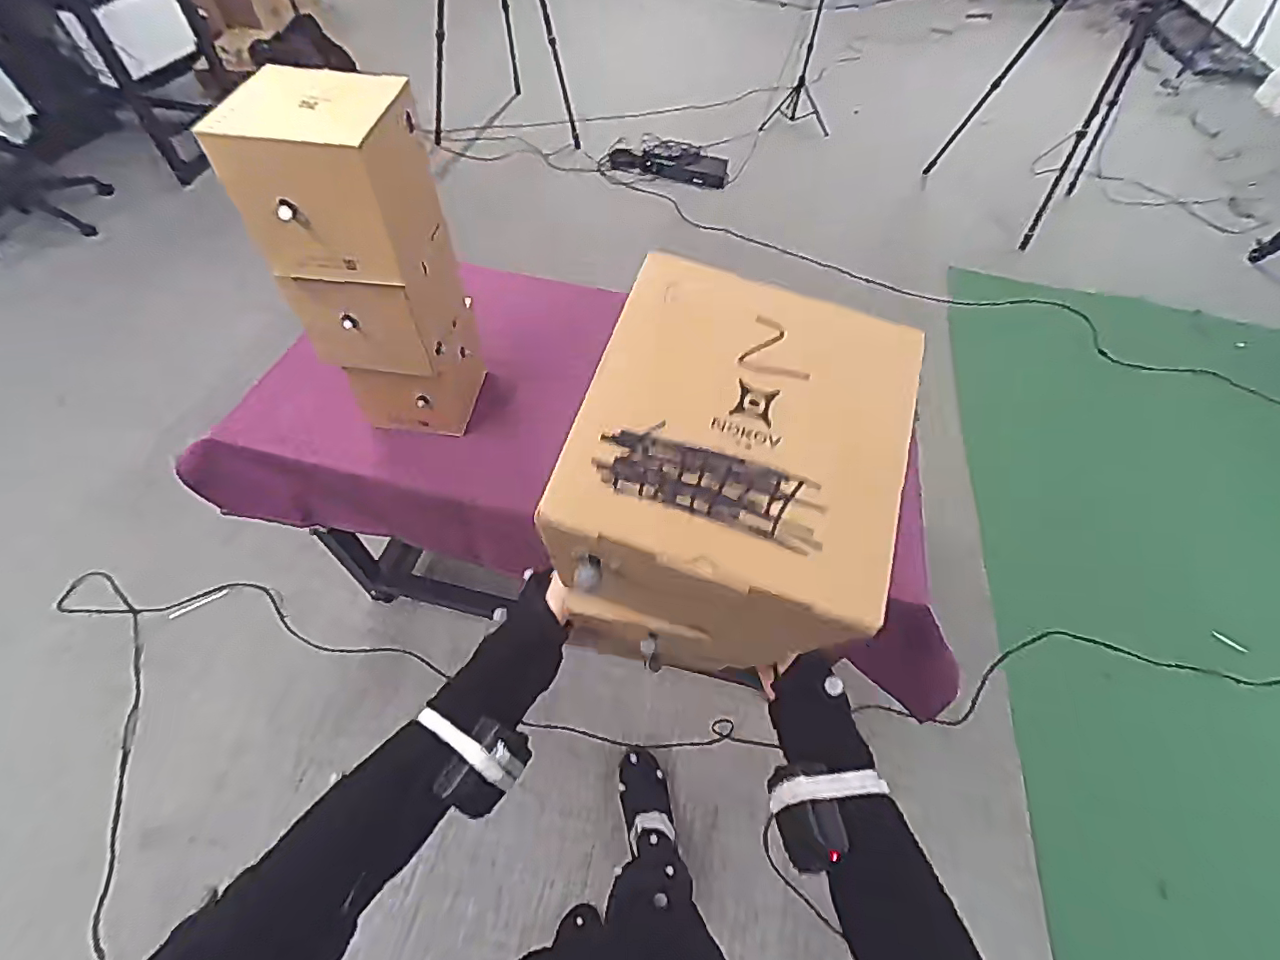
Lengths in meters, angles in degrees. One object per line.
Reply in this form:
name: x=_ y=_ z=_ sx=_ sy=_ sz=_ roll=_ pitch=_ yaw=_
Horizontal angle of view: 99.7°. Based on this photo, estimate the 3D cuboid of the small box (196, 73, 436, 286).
small box: x=-0.363 y=-0.356 z=0.652 sx=0.168 sy=0.176 sz=0.179 roll=4 pitch=54 yaw=-1

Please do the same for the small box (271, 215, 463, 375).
small box: x=-0.377 y=-0.273 z=0.791 sx=0.179 sy=0.176 sz=0.168 roll=6 pitch=55 yaw=2

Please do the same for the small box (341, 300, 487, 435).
small box: x=-0.378 y=-0.198 z=0.939 sx=0.168 sy=0.176 sz=0.179 roll=7 pitch=54 yaw=1

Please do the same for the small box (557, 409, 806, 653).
small box: x=0.036 y=0.059 z=0.504 sx=0.179 sy=0.176 sz=0.168 roll=12 pitch=69 yaw=2

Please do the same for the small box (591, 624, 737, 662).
small box: x=0.032 y=0.114 z=0.660 sx=0.168 sy=0.176 sz=0.179 roll=9 pitch=67 yaw=1
